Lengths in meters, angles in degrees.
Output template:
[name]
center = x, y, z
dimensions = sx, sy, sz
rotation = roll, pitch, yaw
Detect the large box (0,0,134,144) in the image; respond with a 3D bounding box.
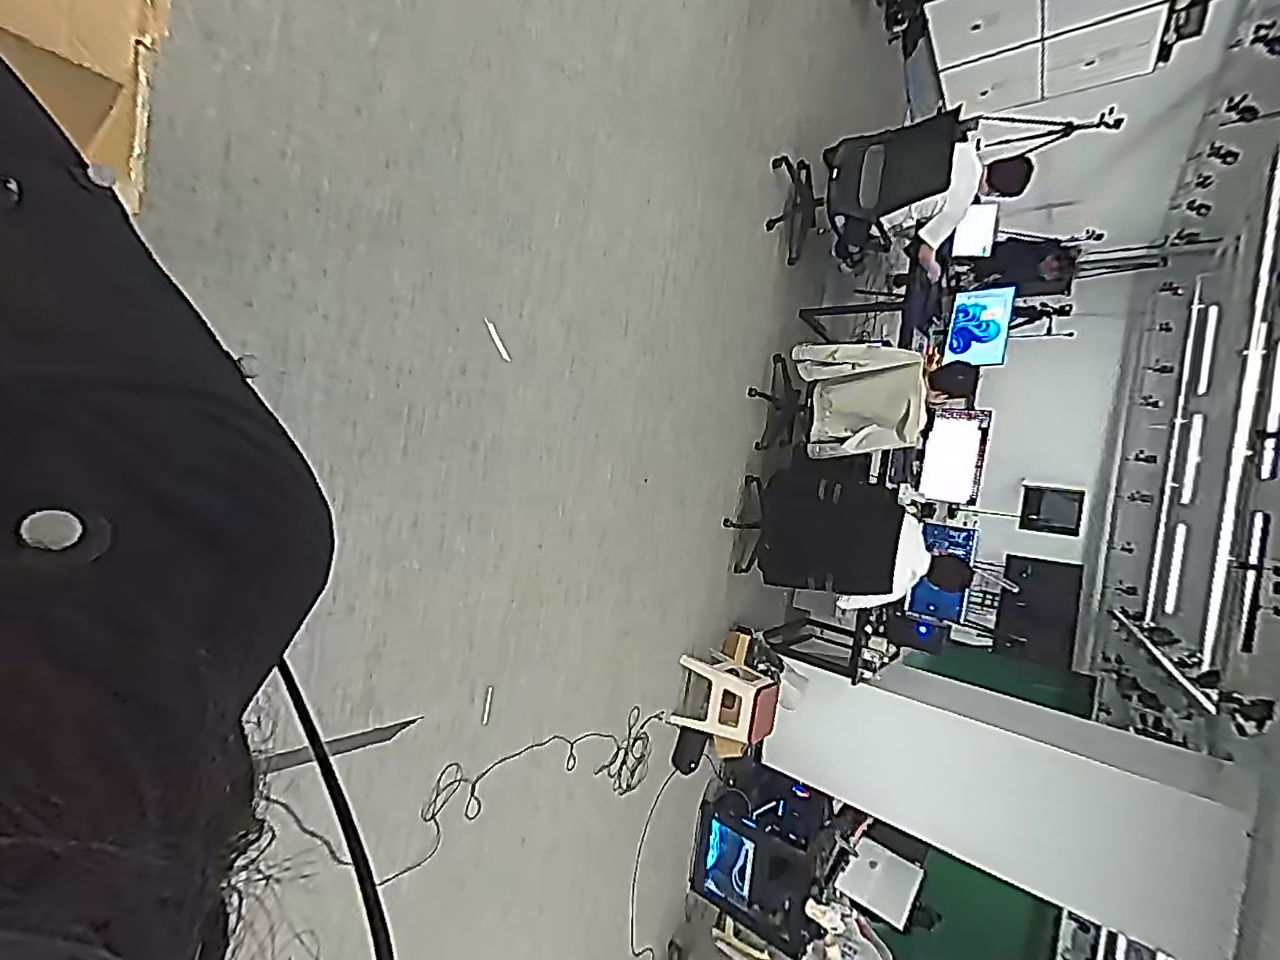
[large box]
center = -0.657, -0.530, 0.384
dimensions = 0.408, 0.320, 0.320
rotation = 6, 93, -54
